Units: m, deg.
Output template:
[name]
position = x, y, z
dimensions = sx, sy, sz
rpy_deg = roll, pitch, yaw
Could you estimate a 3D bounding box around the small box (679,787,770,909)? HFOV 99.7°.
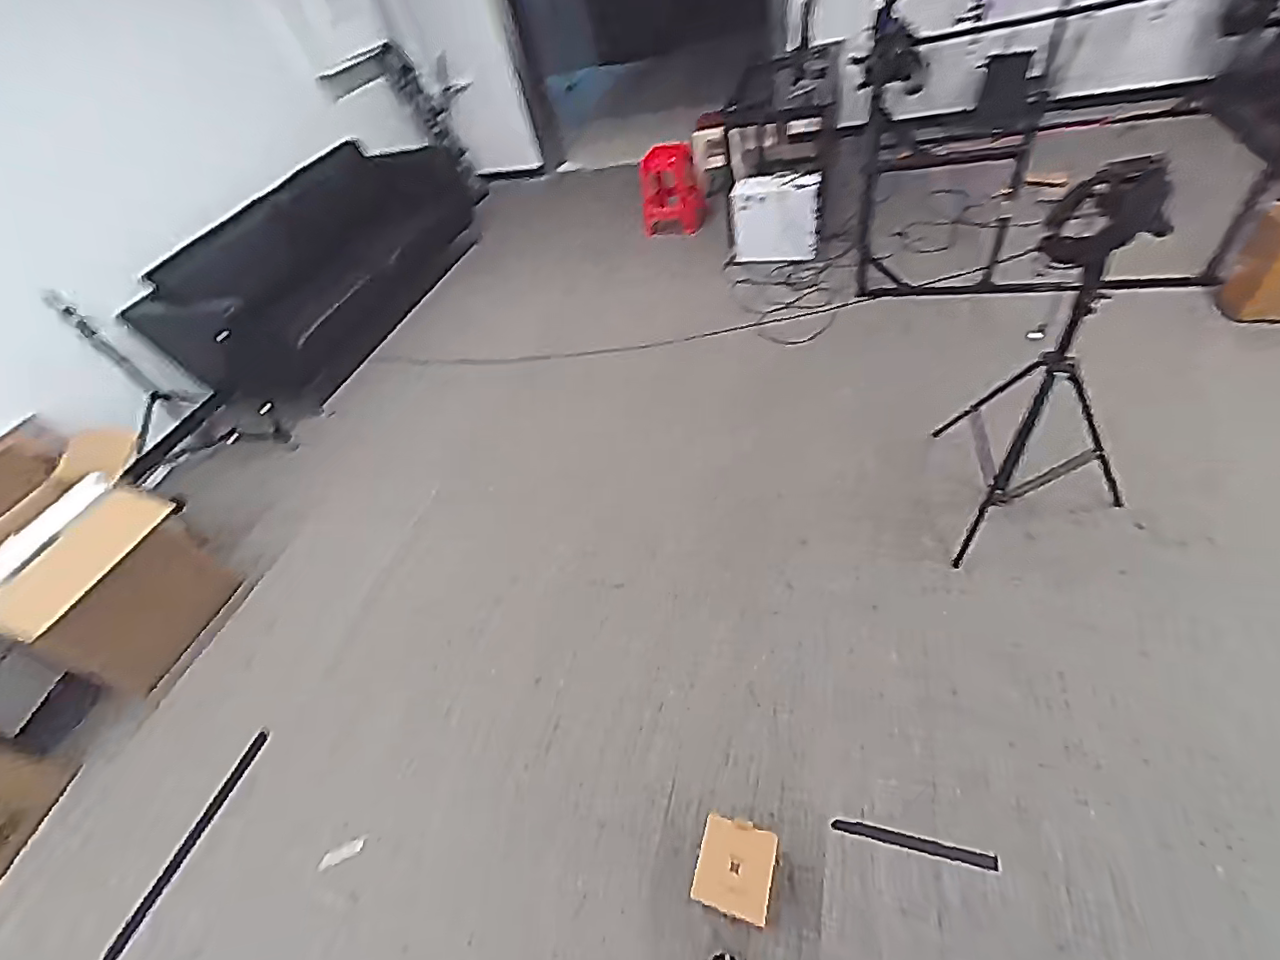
[small box]
position = 0.201, 0.844, 1.240
dimensions = 0.168, 0.176, 0.179
rpy_deg = 7, 51, 23
